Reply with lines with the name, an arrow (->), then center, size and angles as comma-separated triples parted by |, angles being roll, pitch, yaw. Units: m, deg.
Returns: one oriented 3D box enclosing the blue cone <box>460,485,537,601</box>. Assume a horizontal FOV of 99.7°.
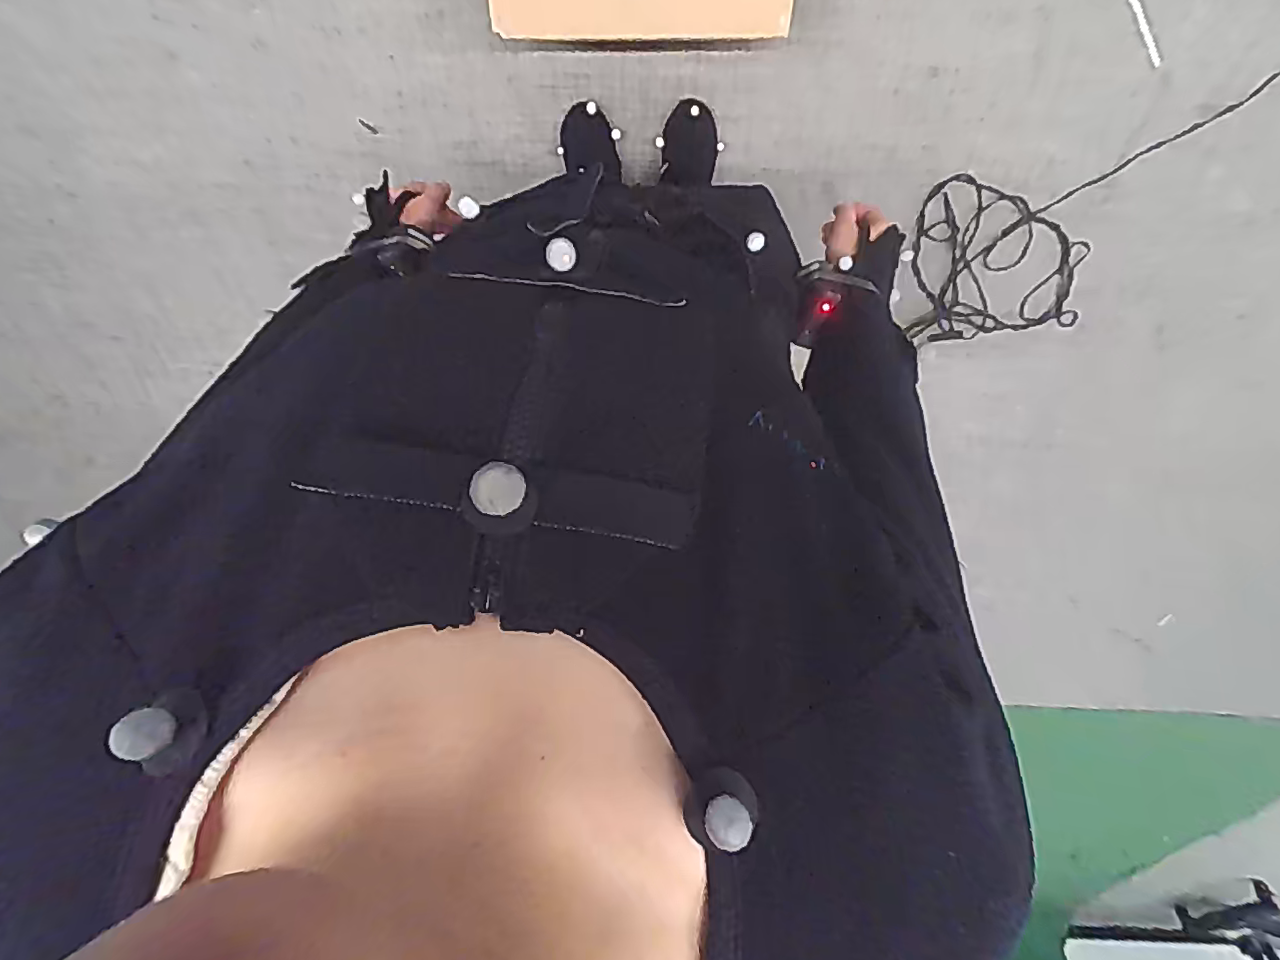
blue cone -> -0.428, 0.190, 1.545 | 0.192, 0.380, 0.193 | 3, 128, 2
